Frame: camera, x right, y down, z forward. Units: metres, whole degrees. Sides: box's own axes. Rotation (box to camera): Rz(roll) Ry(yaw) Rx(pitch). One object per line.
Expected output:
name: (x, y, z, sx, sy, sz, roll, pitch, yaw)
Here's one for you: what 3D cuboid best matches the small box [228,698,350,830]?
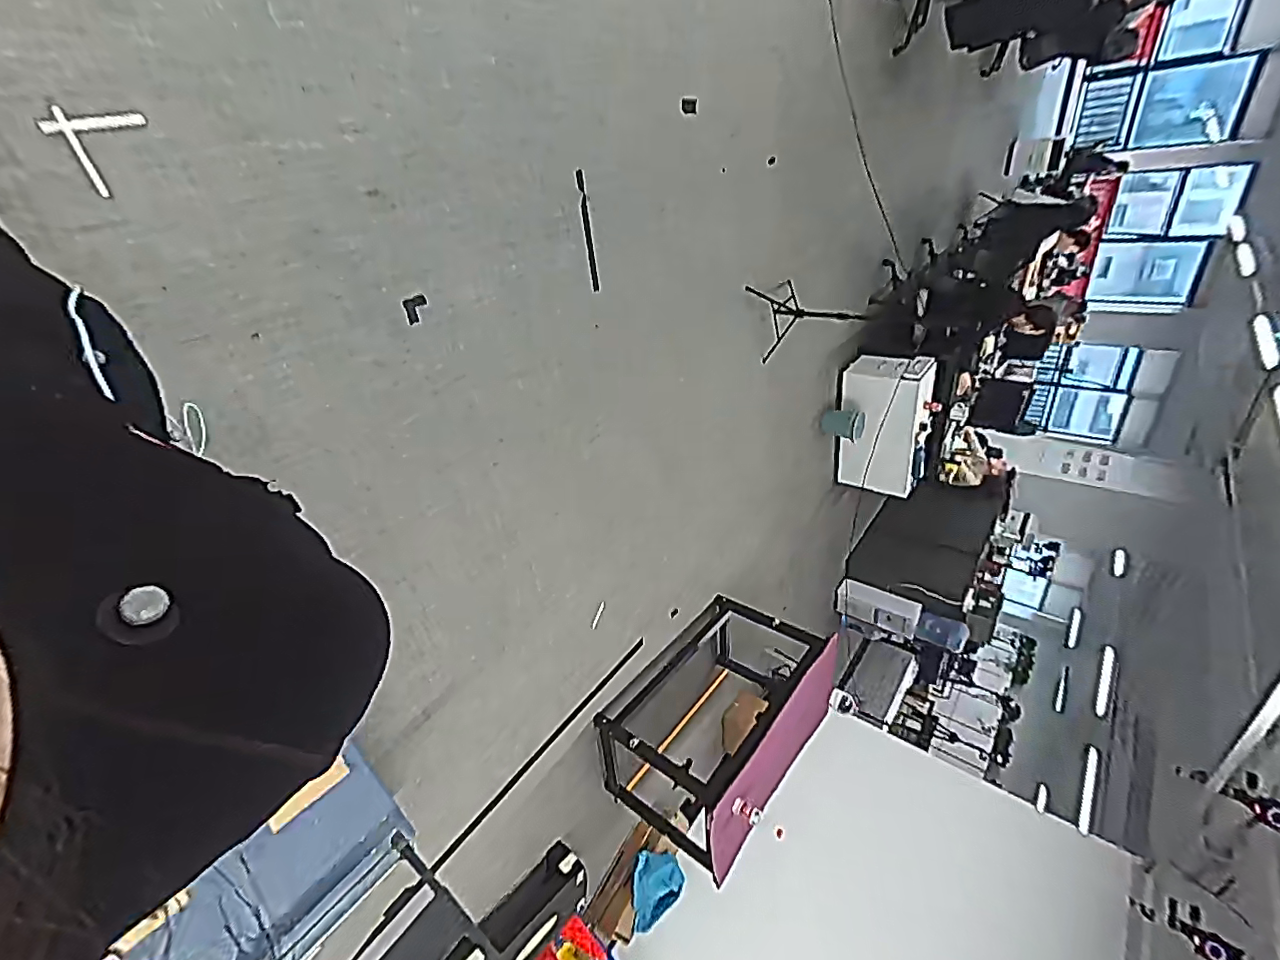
small box: (-0.827, 0.657, 1.269, 0.179, 0.176, 0.168, -34, 130, -41)
